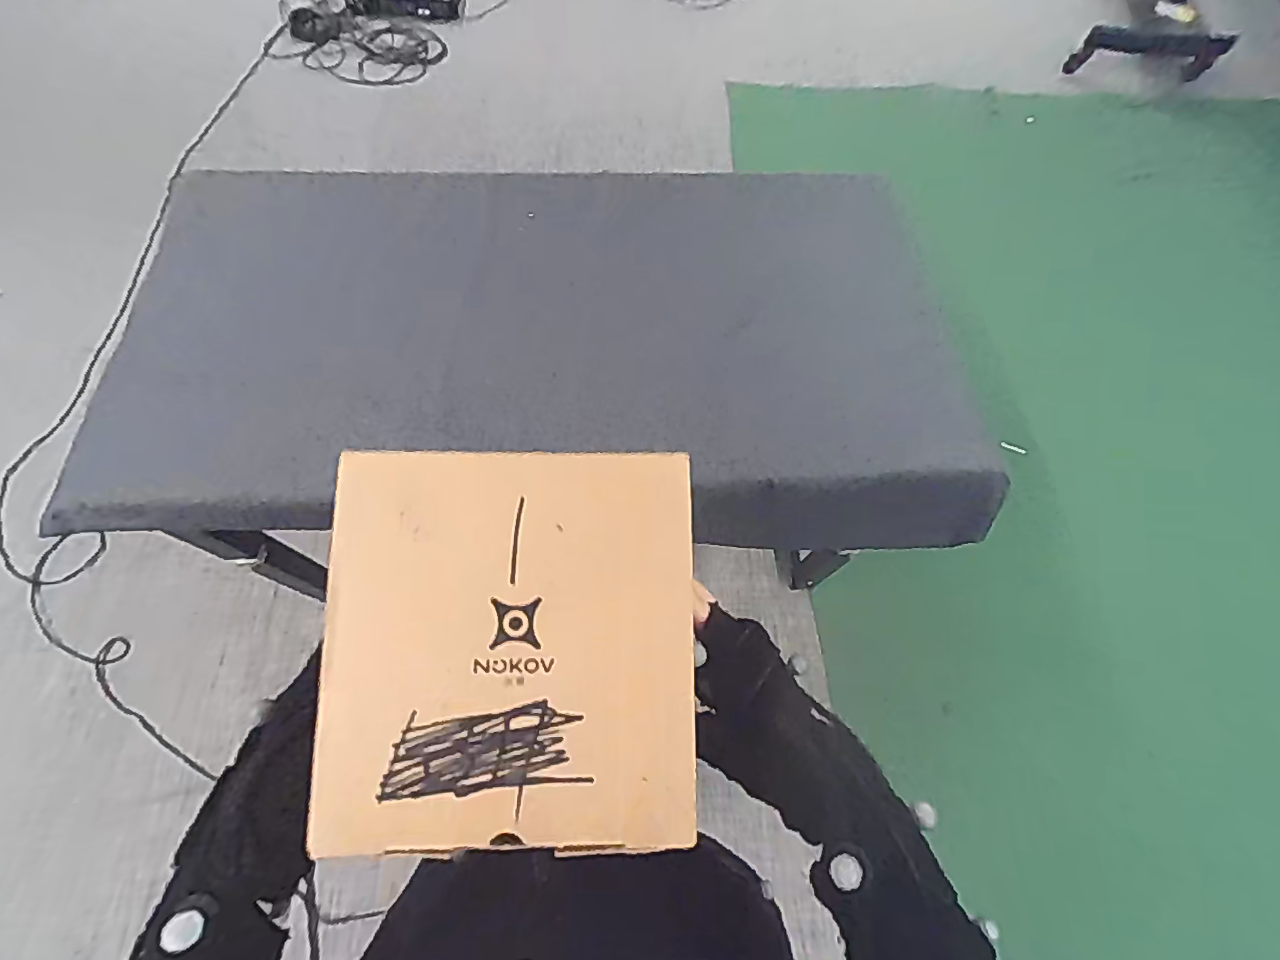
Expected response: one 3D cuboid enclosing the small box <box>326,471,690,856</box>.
[{"bbox_3d":[-0.062,0.096,0.336,0.168,0.176,0.179,2,80,-3],"label":"small box"}]
